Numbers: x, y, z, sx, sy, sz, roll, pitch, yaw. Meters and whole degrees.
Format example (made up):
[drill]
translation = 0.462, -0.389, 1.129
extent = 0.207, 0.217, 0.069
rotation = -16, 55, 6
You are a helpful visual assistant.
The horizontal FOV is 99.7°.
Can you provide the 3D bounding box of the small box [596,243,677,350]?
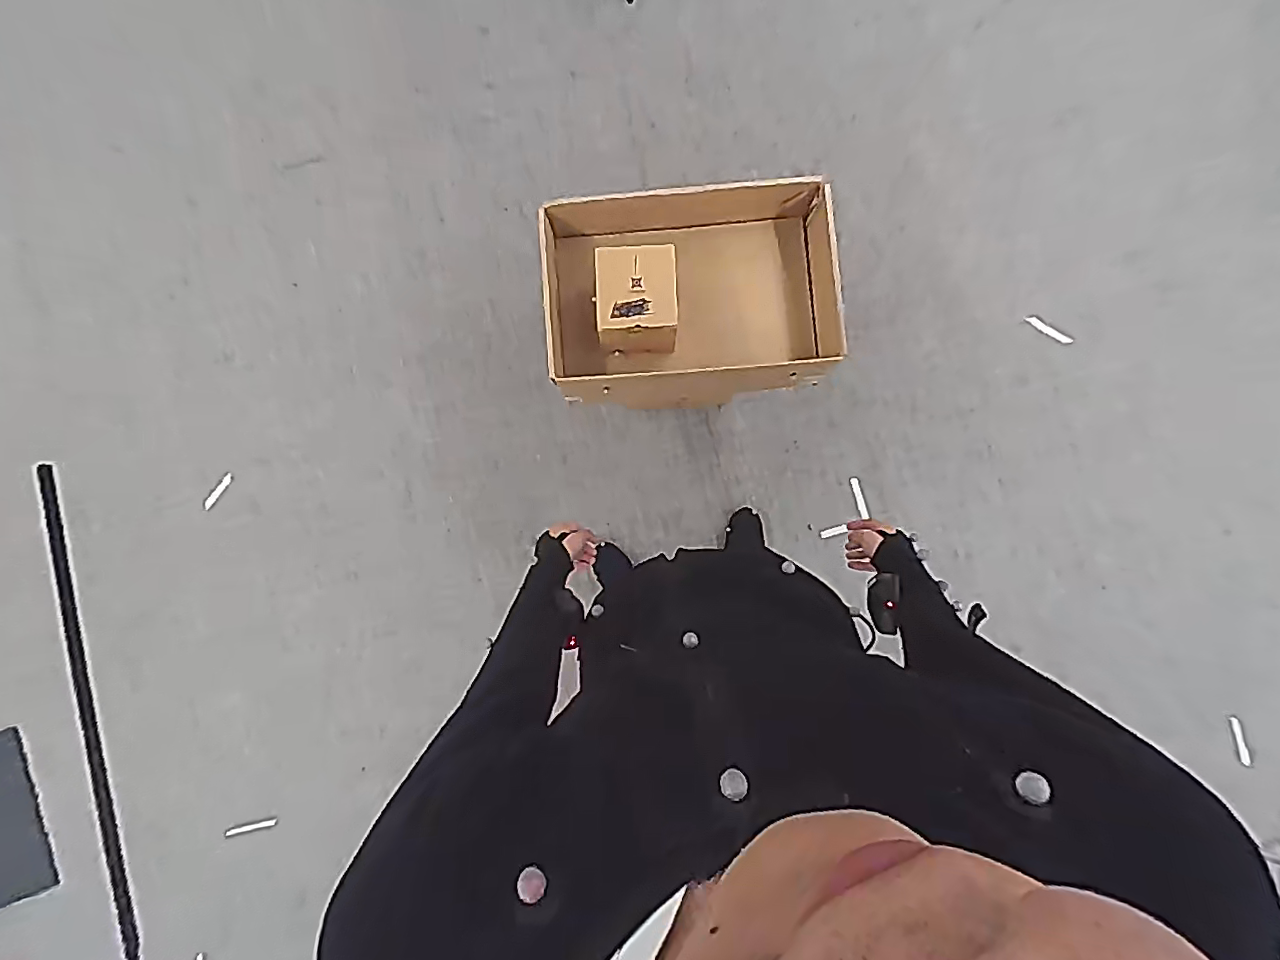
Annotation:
[small box]
translation = -0.005, -0.388, 1.174
extent = 0.168, 0.176, 0.179
rotation = -2, 85, 1
